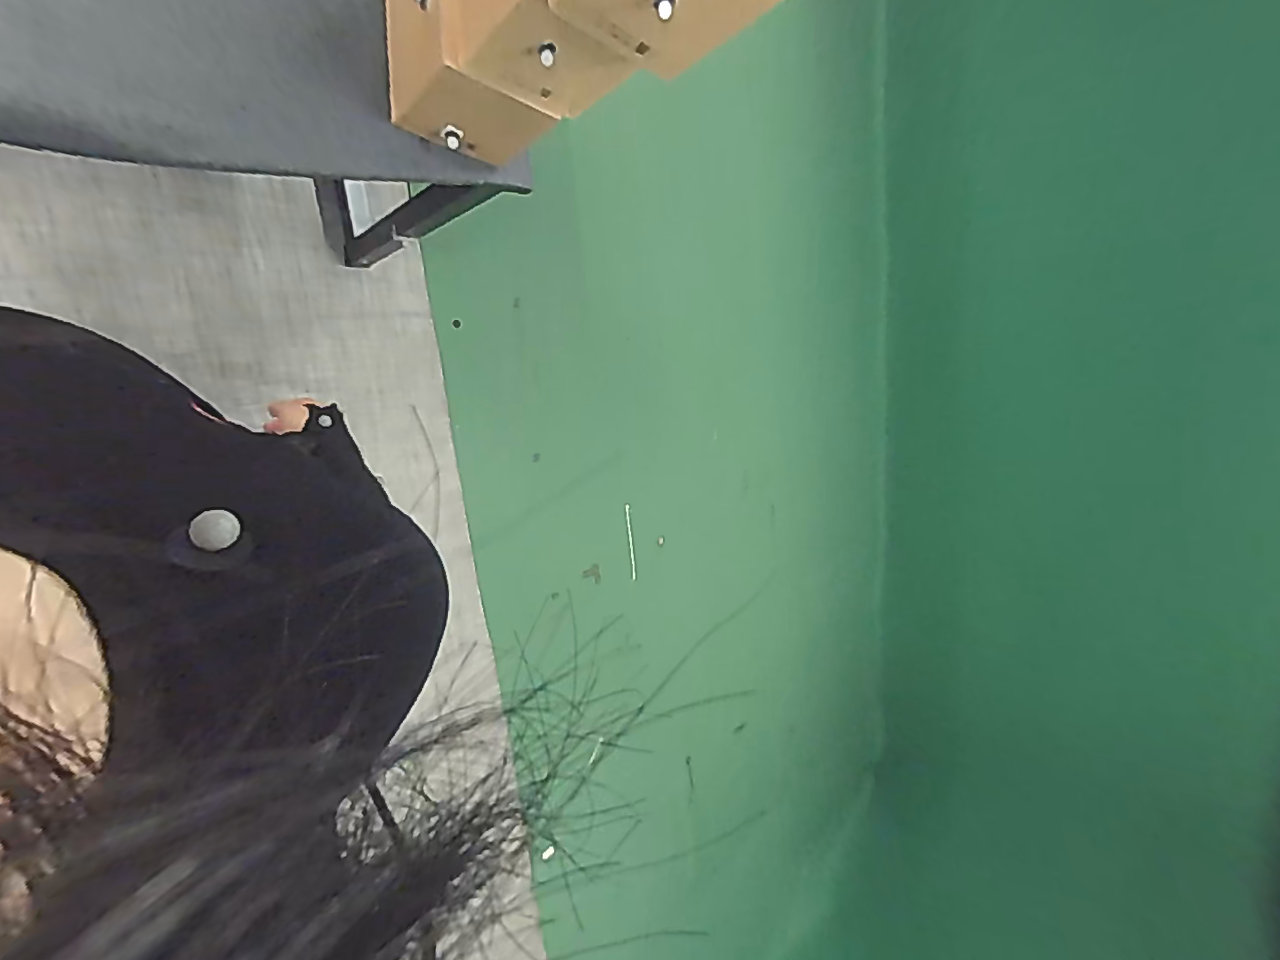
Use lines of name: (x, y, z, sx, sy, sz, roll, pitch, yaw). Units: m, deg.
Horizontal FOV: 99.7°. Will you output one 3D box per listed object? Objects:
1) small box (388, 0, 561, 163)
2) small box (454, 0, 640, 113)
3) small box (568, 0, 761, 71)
small box: (-0.220, -0.562, 0.713, 0.168, 0.176, 0.179, -4, 96, -43)
small box: (-0.097, -0.559, 0.606, 0.168, 0.176, 0.179, -7, 96, -43)
small box: (0.024, -0.531, 0.495, 0.168, 0.176, 0.179, -6, 95, -44)
